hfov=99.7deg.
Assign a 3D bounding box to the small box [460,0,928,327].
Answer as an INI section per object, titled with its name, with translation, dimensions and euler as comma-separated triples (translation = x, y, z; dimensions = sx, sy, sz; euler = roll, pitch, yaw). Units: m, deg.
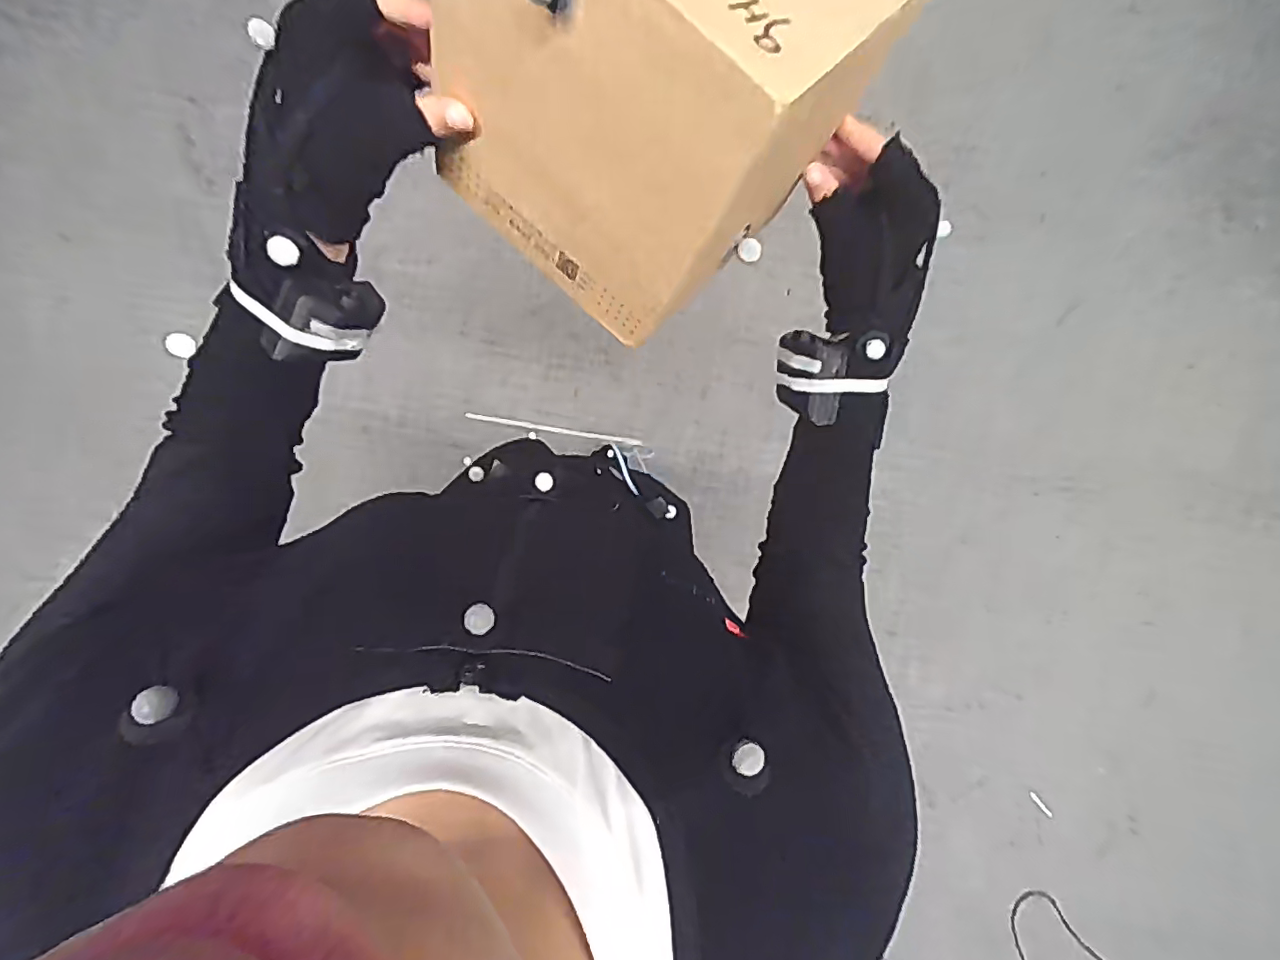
[small box]
translation = 0.016, -0.225, 0.301
dimensions = 0.168, 0.176, 0.179
euler = 42, 64, -2
